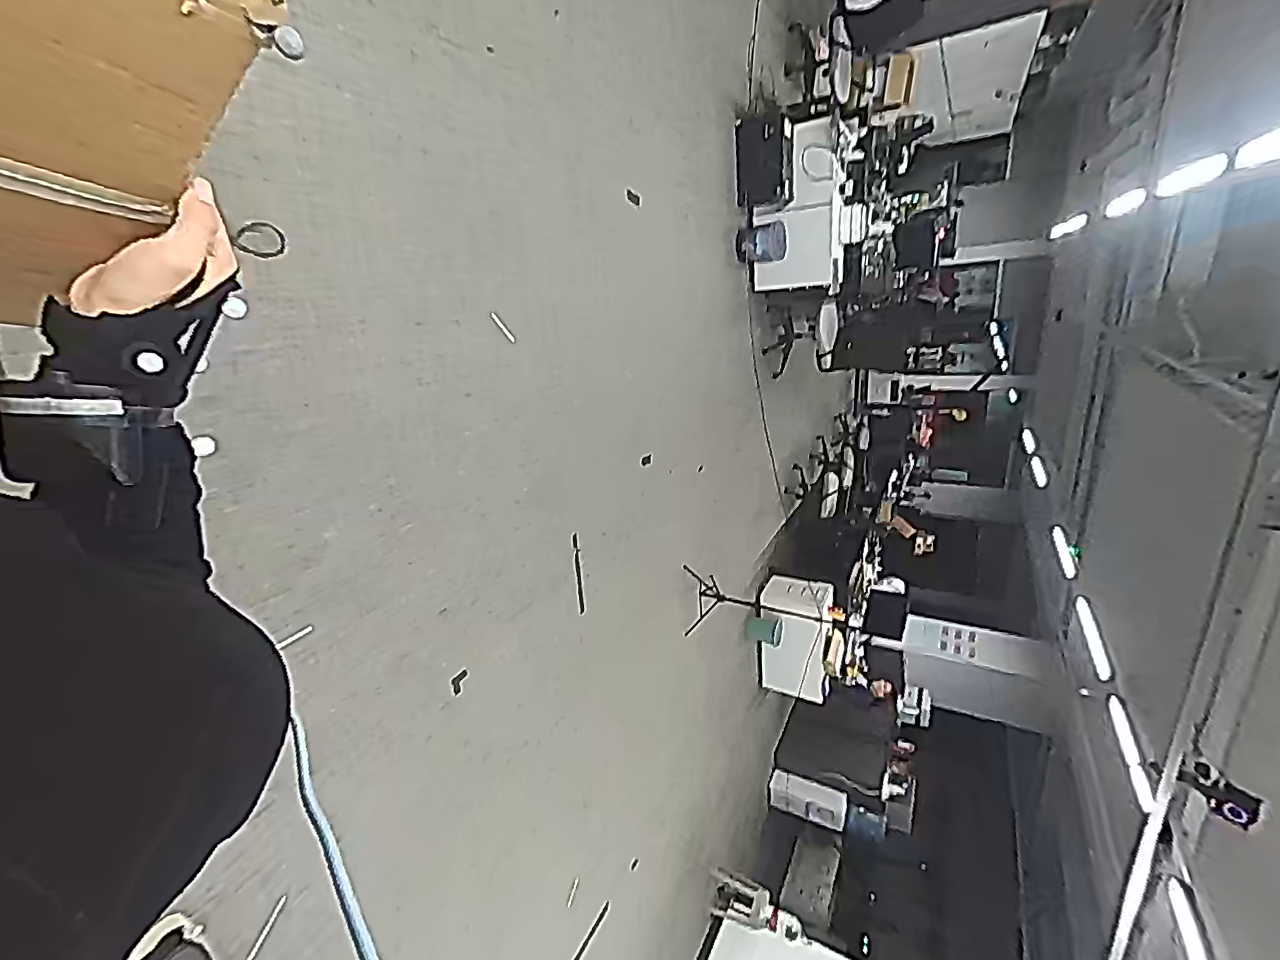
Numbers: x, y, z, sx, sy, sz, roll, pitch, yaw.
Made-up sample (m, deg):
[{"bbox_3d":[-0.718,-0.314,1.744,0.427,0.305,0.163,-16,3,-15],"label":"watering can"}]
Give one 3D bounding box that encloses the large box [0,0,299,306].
[{"bbox_3d":[-0.412,-0.300,0.167,0.408,0.320,0.320,-9,79,-58],"label":"large box"}]
